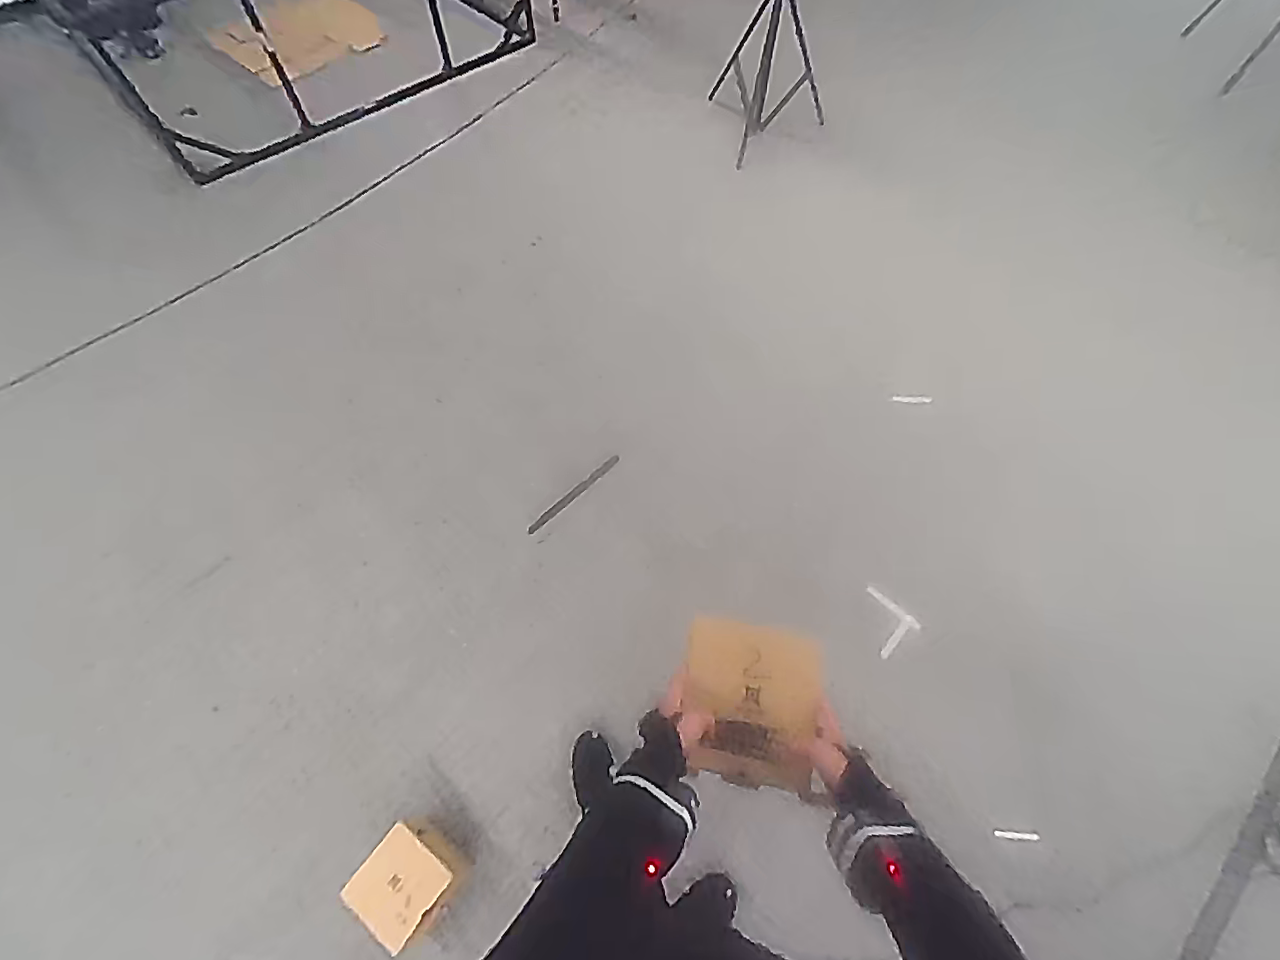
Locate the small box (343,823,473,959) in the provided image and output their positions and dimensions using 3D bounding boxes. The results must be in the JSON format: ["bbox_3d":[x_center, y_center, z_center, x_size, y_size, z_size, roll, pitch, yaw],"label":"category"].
[{"bbox_3d":[-0.502,0.894,1.195,0.179,0.176,0.168,33,66,16],"label":"small box"}]
